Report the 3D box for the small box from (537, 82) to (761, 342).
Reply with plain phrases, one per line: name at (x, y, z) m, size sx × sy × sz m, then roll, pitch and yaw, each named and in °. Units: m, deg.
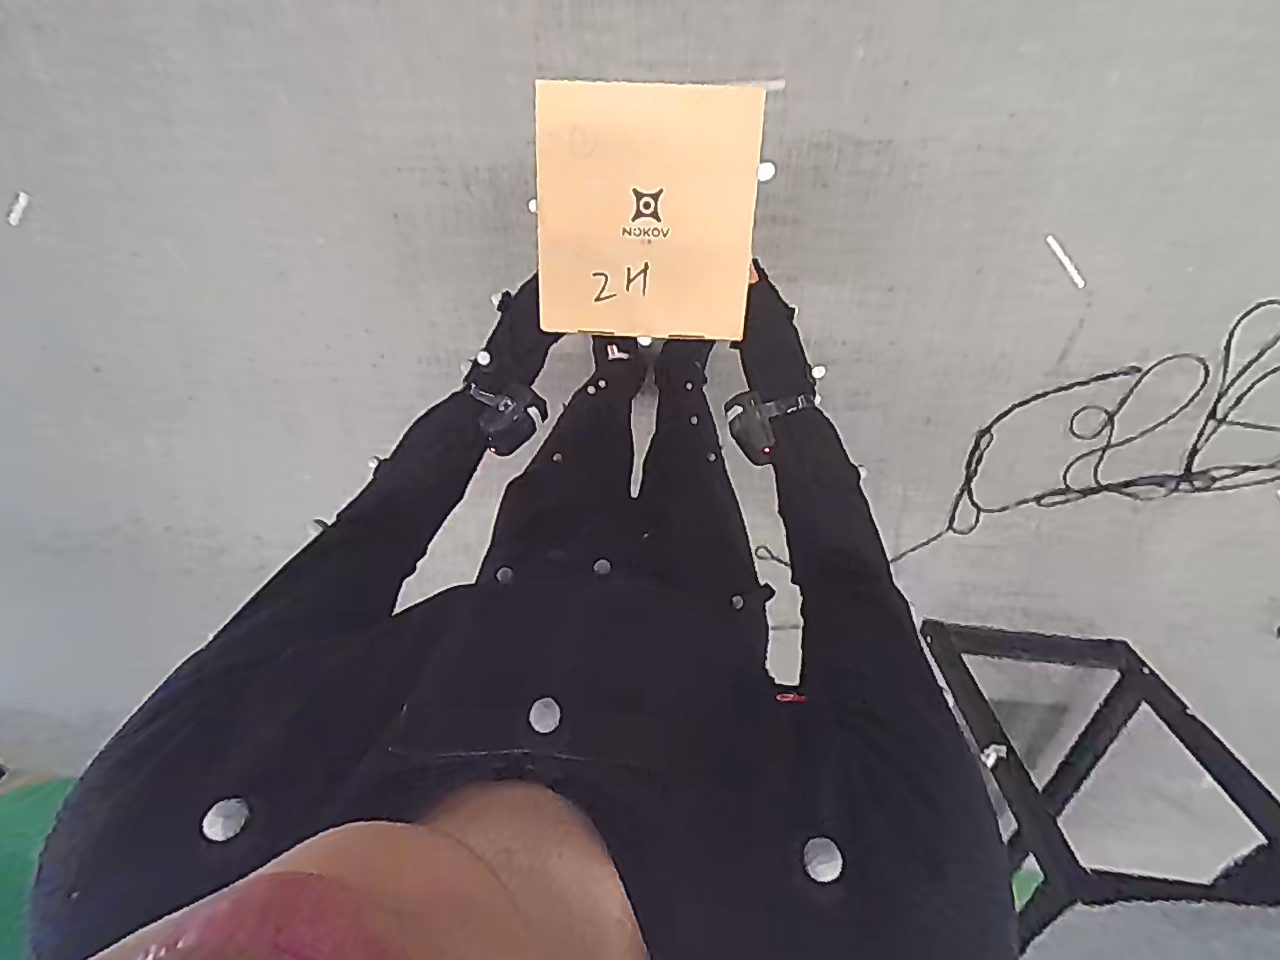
small box at (0.004, -0.224, 0.490) m, size 0.168 × 0.176 × 0.179 m, roll 3°, pitch 109°, yaw 1°
